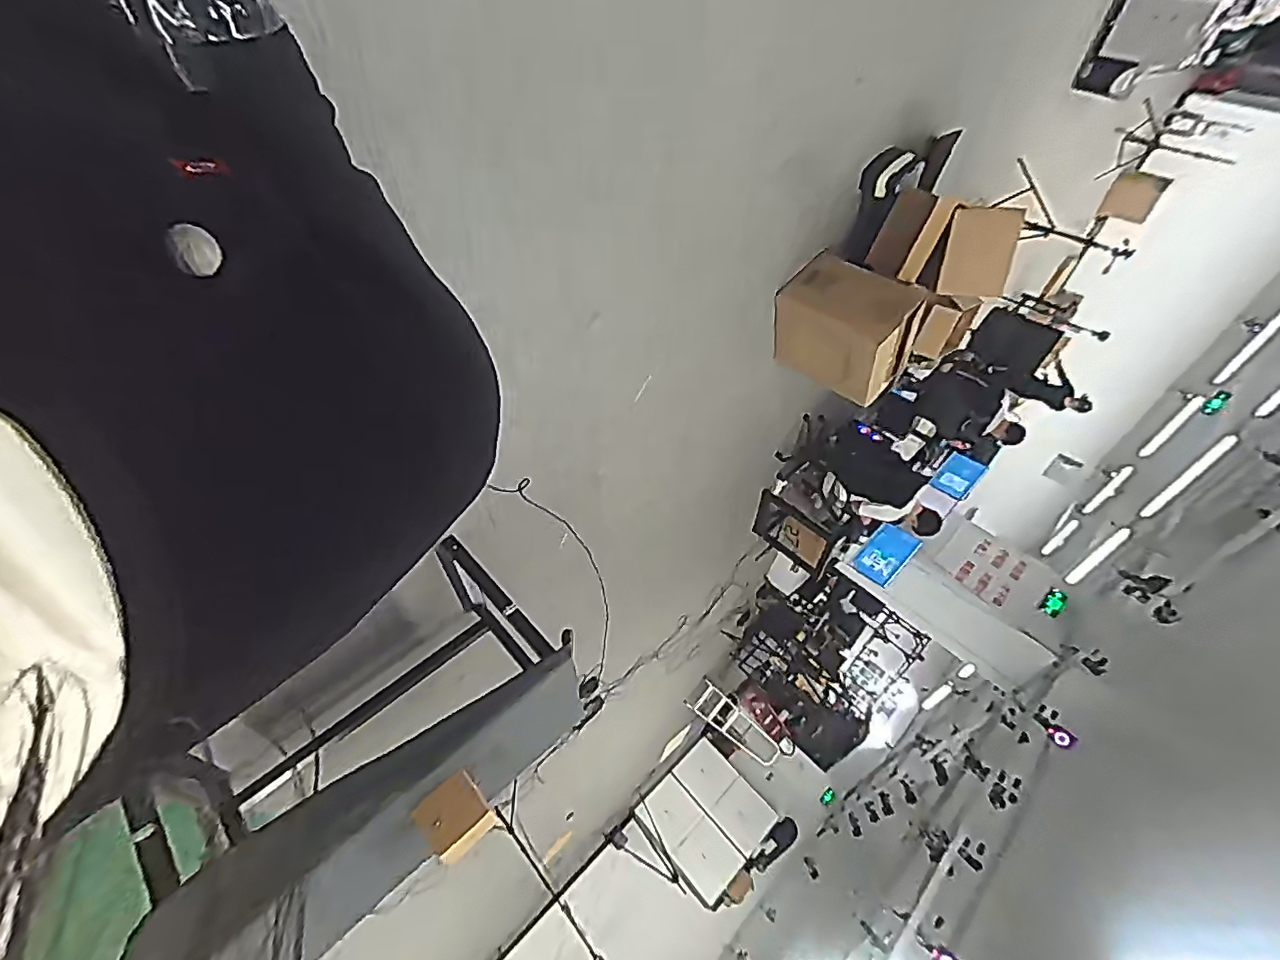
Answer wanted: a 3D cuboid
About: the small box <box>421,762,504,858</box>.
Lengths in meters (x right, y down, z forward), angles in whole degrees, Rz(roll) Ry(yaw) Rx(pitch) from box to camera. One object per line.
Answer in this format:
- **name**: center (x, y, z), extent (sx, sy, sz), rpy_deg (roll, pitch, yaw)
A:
- **small box**: center (-0.556, 1.024, 1.680), extent (0.179, 0.176, 0.168), rpy_deg (-37, 150, -27)
